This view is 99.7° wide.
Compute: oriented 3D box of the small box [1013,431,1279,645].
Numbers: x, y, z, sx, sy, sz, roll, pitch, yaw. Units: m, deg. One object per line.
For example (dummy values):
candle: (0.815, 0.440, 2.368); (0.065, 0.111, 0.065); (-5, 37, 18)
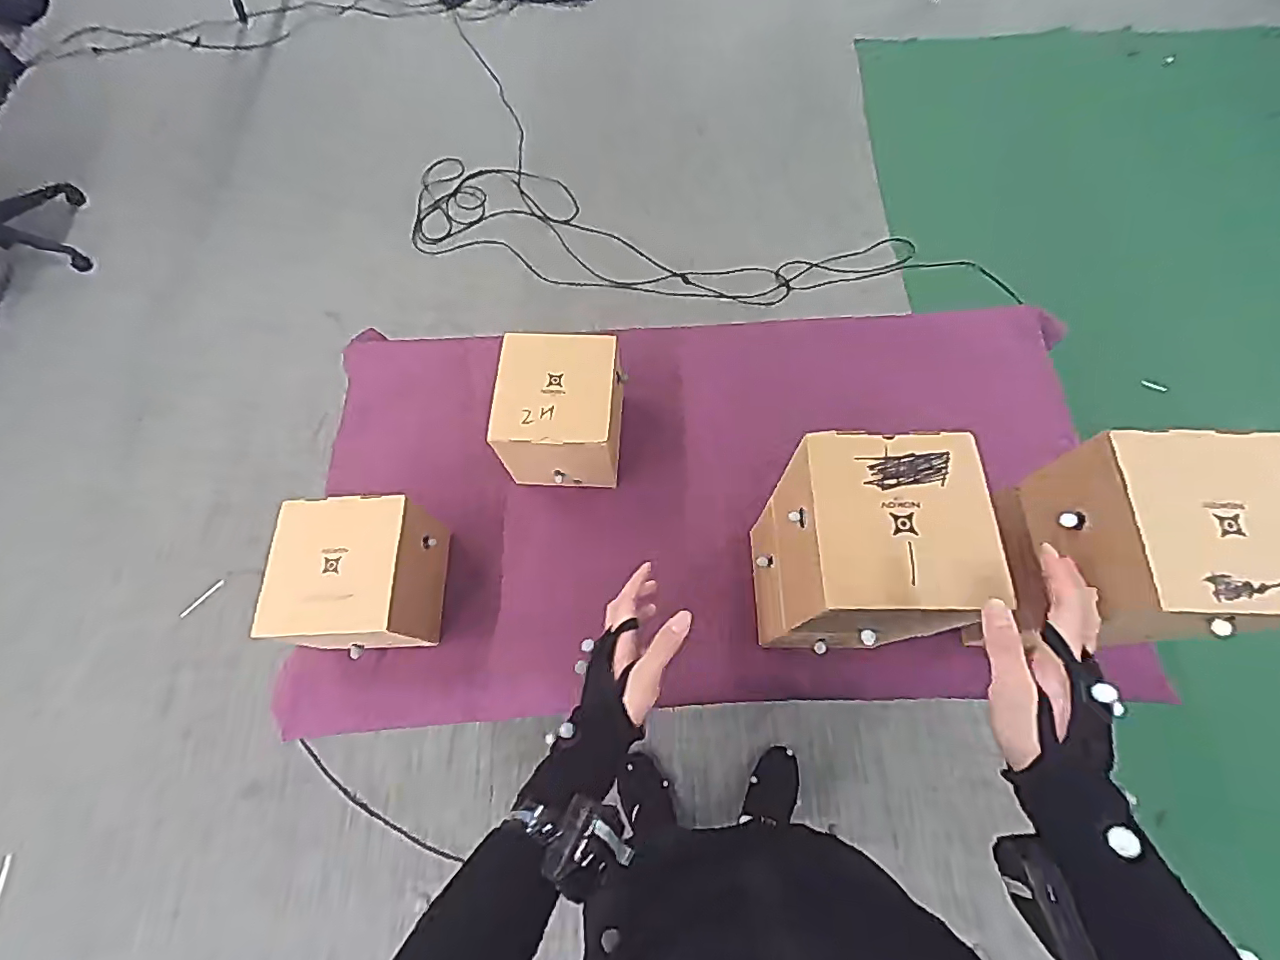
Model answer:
small box: (0.525, 0.066, 0.558); (0.168, 0.176, 0.179); (1, 67, 4)

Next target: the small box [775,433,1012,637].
small box: (0.244, 0.065, 0.573); (0.168, 0.176, 0.179); (0, 68, 3)

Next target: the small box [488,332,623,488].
small box: (-0.116, -0.102, 0.827); (0.168, 0.176, 0.179); (3, 69, 3)

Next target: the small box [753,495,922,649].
small box: (0.249, 0.130, 0.725); (0.168, 0.176, 0.179); (-1, 67, 3)

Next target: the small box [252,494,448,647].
small box: (-0.378, 0.131, 0.745); (0.168, 0.176, 0.179); (-2, 68, 2)
